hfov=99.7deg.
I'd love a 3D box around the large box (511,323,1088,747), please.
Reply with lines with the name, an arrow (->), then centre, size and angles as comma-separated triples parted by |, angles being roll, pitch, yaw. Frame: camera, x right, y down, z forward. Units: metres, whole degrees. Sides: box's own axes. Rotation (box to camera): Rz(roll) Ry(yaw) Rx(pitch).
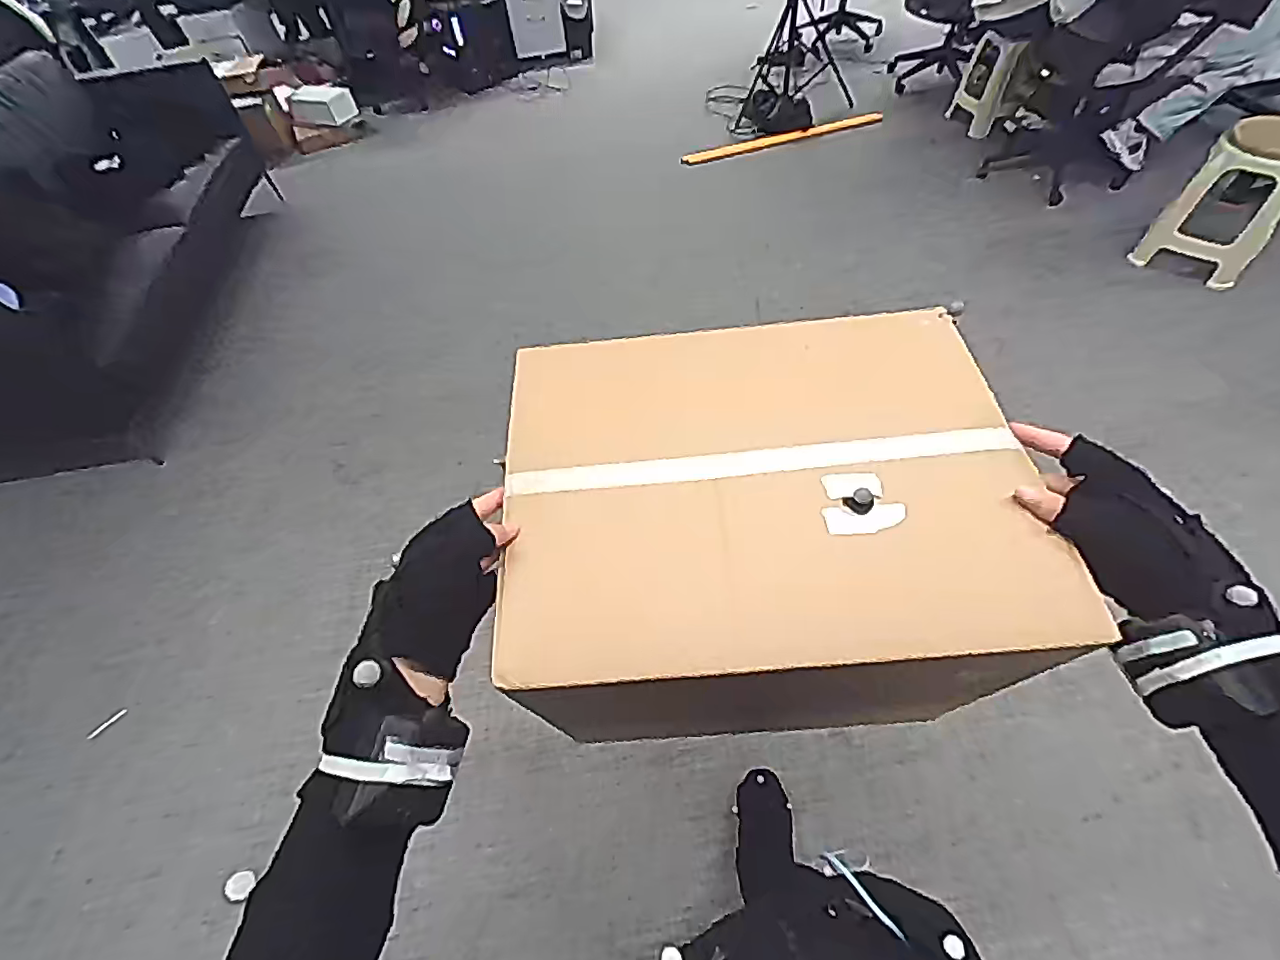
large box -> 0.106, 0.077, 0.571 | 0.408, 0.320, 0.320 | -6, 58, 2
